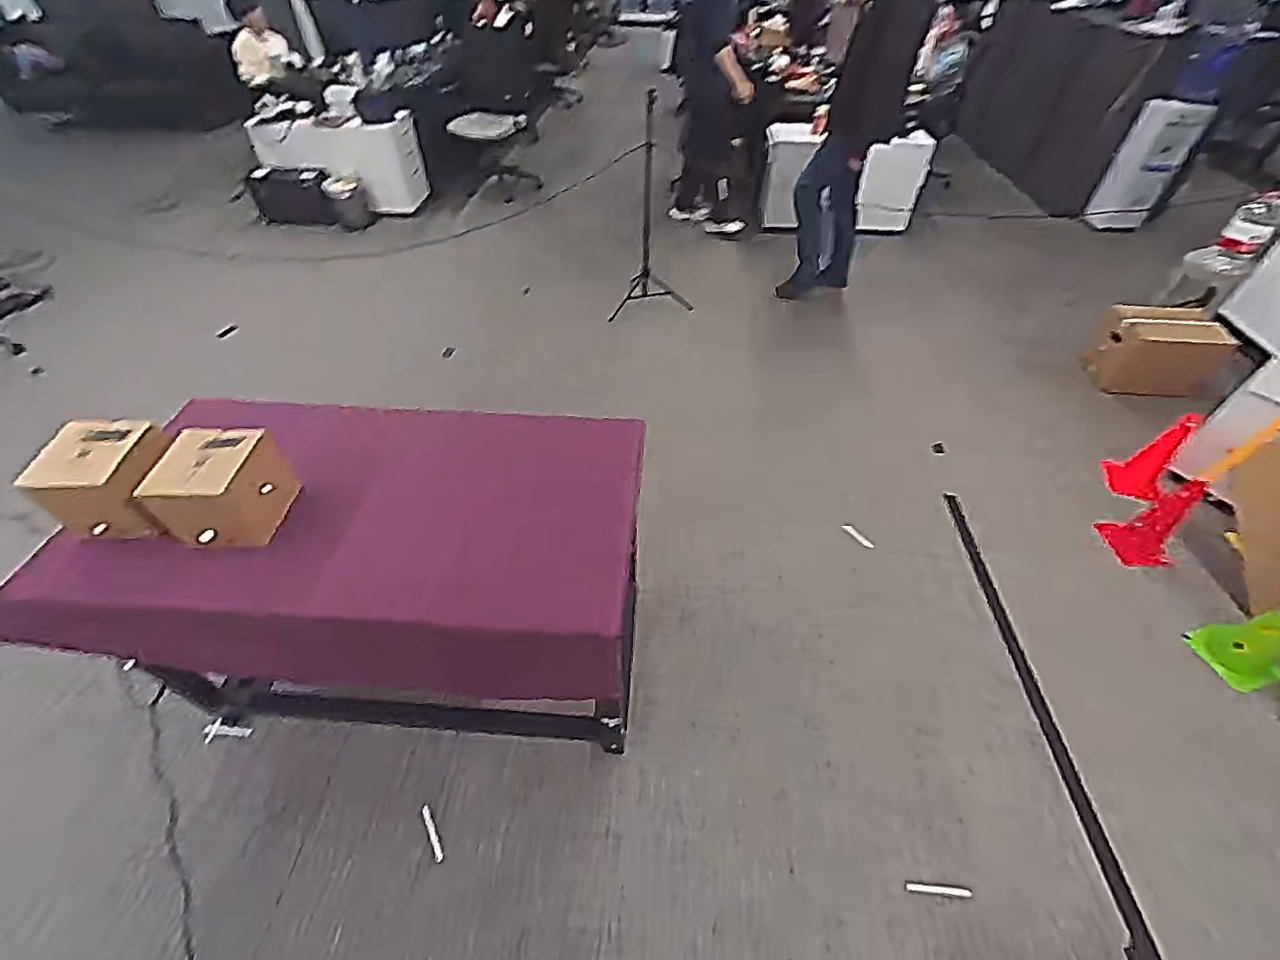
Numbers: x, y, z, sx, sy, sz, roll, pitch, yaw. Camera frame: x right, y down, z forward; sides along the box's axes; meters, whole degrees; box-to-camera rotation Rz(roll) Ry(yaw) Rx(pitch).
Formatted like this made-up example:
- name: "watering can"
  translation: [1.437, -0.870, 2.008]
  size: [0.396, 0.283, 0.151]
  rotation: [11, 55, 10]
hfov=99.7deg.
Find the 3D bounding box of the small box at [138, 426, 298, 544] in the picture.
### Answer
- name: "small box"
  translation: [-0.839, 0.011, 1.103]
  size: [0.168, 0.176, 0.179]
  rotation: [1, 48, 0]
